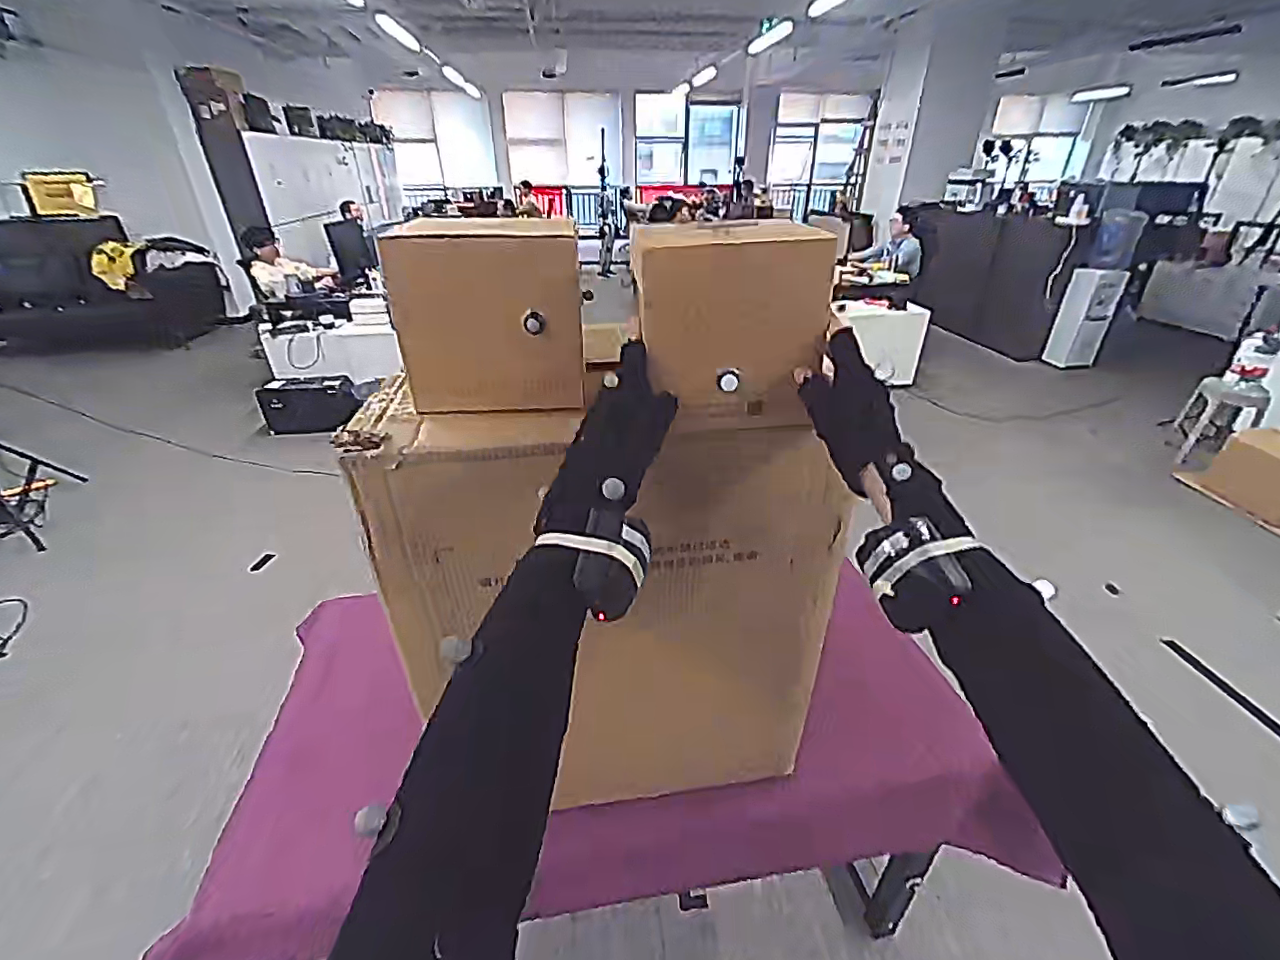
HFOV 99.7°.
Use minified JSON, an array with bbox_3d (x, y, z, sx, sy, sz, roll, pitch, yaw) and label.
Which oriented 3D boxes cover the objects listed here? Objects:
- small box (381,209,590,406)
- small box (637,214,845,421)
[{"bbox_3d":[-0.143,-0.187,0.576,0.179,0.176,0.168,-3,30,-5],"label":"small box"},{"bbox_3d":[0.084,-0.169,0.547,0.168,0.176,0.179,-4,30,-2],"label":"small box"}]
